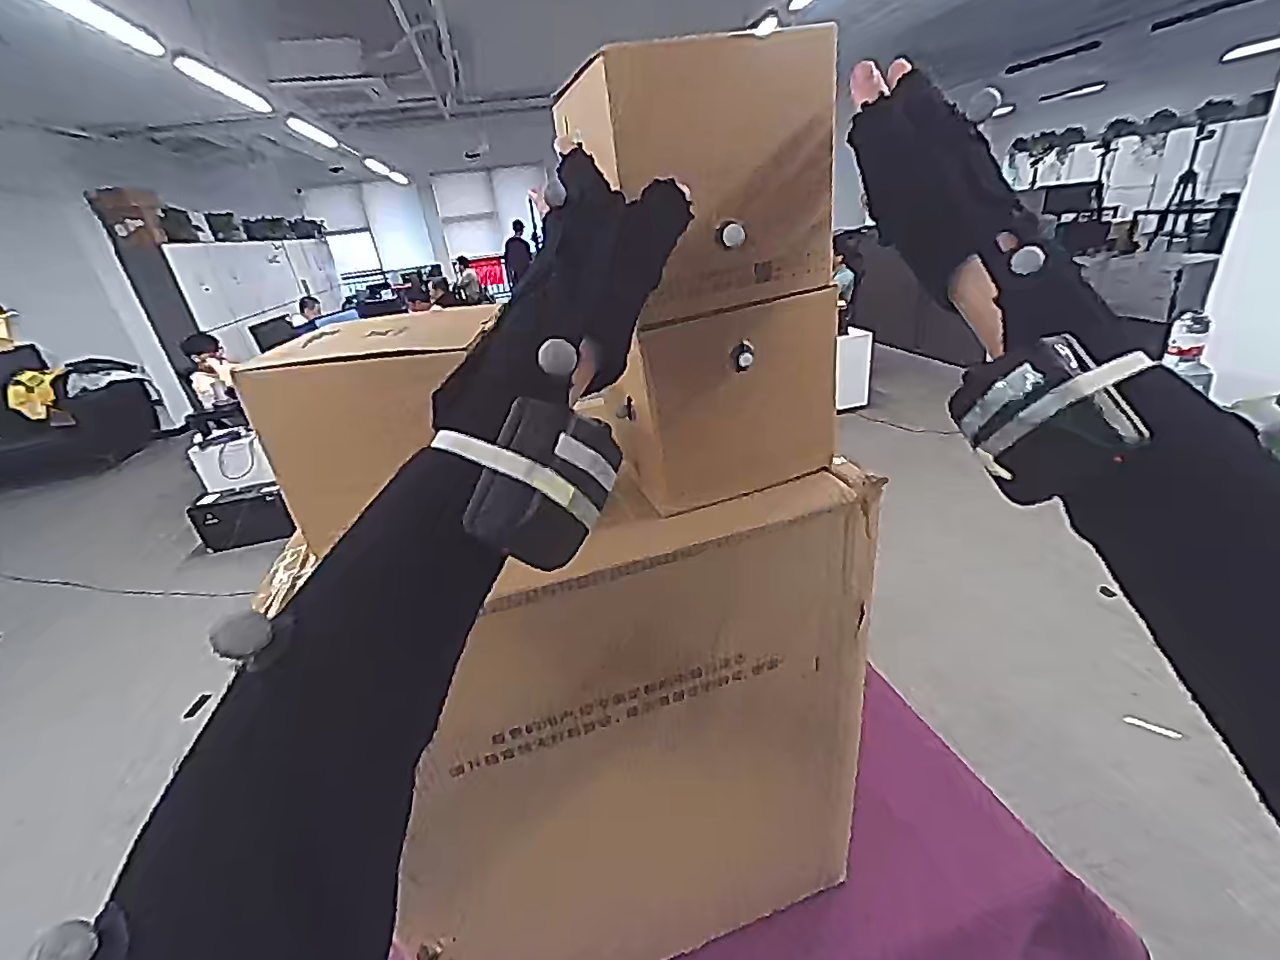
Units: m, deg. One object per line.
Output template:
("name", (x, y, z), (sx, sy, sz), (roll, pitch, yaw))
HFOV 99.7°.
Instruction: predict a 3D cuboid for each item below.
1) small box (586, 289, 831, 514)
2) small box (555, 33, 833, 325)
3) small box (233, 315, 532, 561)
("small box", (0.063, -0.087, 0.520), (0.179, 0.176, 0.168), (-15, 28, -13))
("small box", (0.037, -0.233, 0.447), (0.168, 0.176, 0.179), (-16, 28, -12))
("small box", (-0.203, -0.044, 0.493), (0.179, 0.176, 0.168), (-5, 27, 0))
